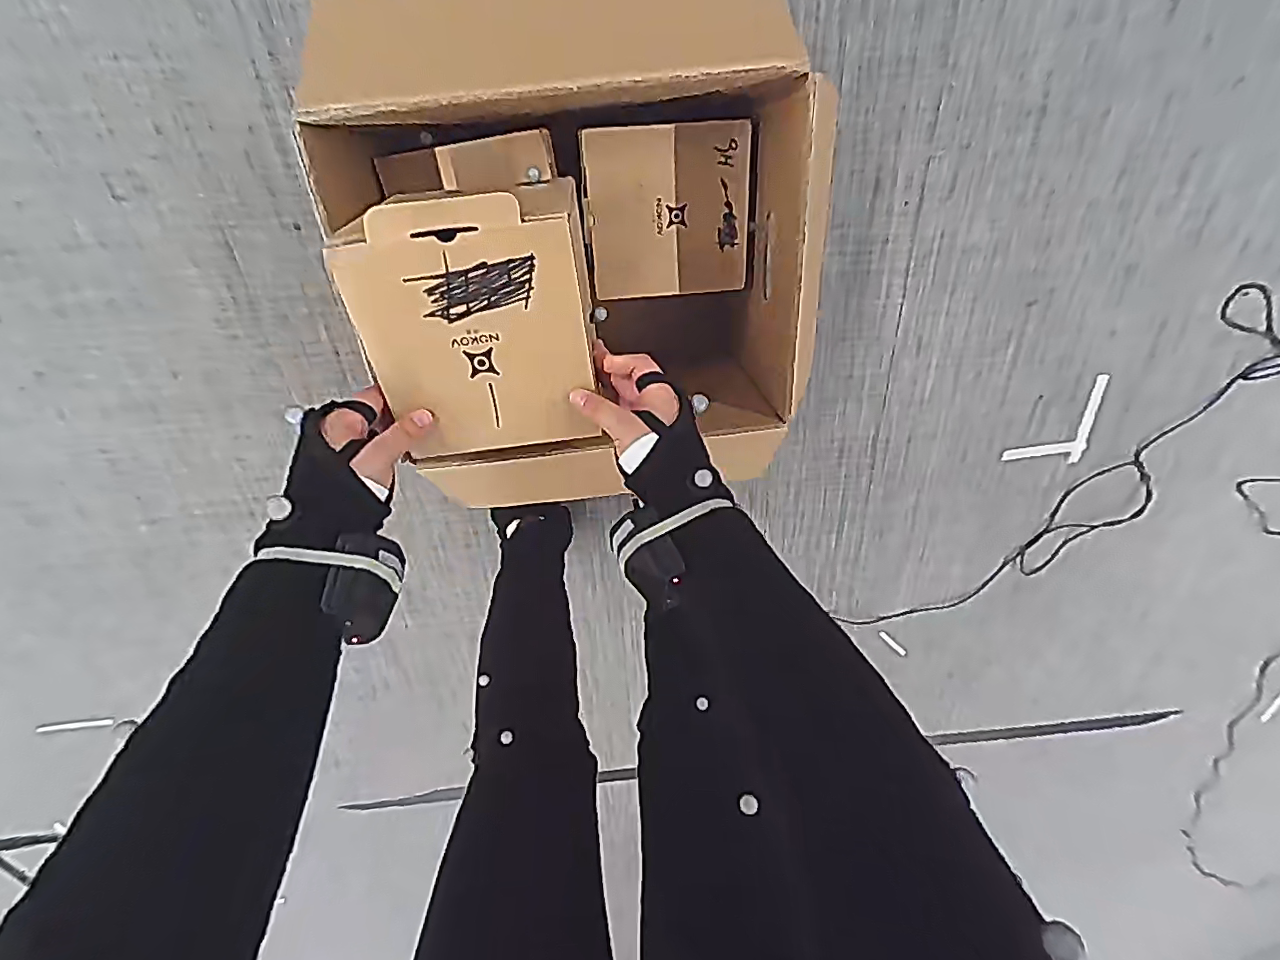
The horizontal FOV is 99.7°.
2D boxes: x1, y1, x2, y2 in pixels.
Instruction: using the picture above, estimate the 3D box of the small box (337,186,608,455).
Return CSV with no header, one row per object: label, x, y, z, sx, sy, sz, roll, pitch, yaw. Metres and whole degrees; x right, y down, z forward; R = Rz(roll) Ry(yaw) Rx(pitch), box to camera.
small box,-0.120,-0.145,0.468,0.168,0.176,0.179,-6,127,-1
